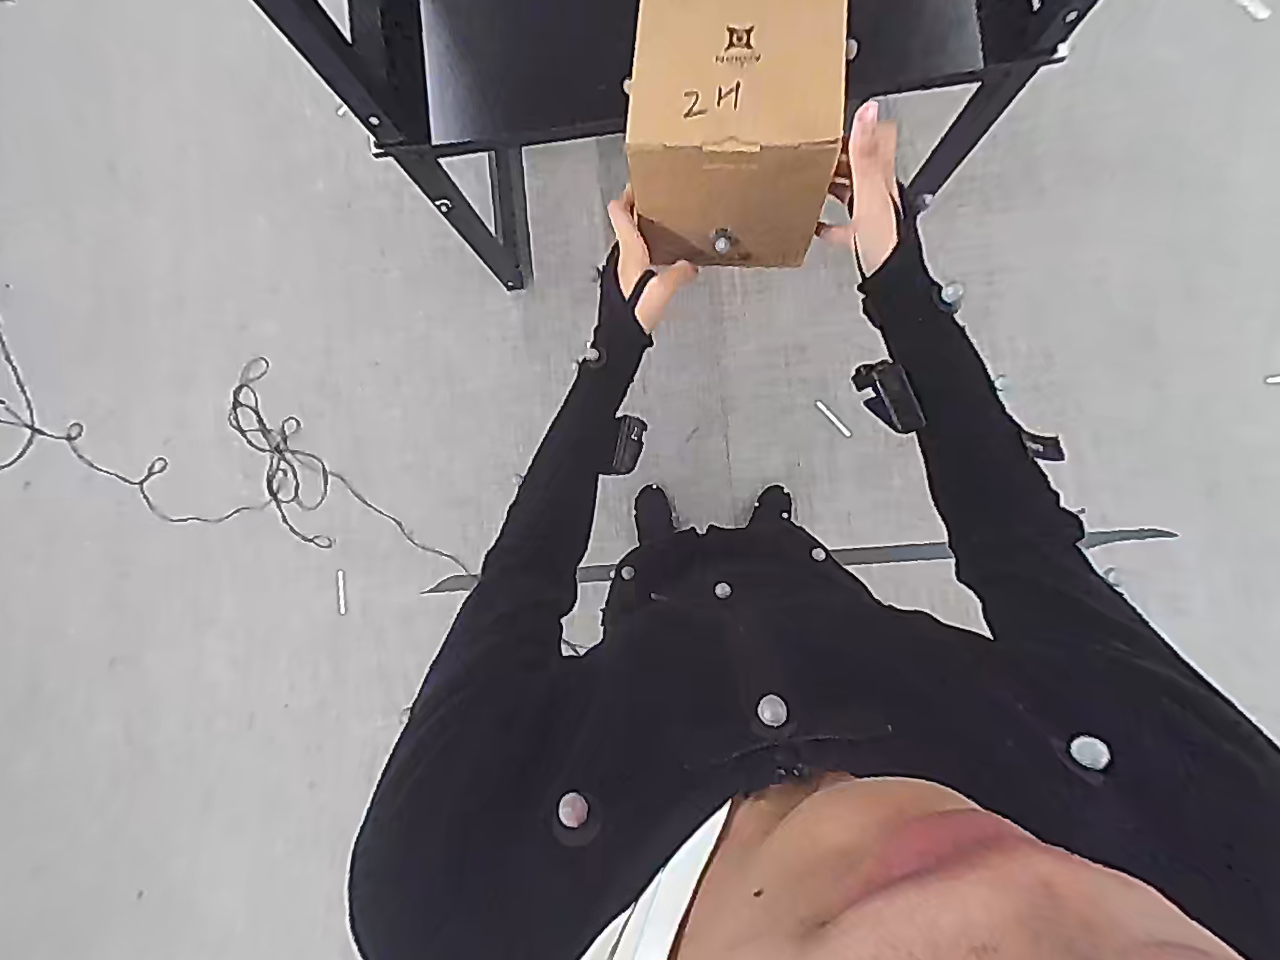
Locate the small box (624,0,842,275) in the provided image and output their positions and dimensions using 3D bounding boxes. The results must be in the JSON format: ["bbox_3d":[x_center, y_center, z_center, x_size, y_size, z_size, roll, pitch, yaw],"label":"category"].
[{"bbox_3d":[0.083,-0.319,0.505,0.168,0.176,0.179,3,80,8],"label":"small box"}]
